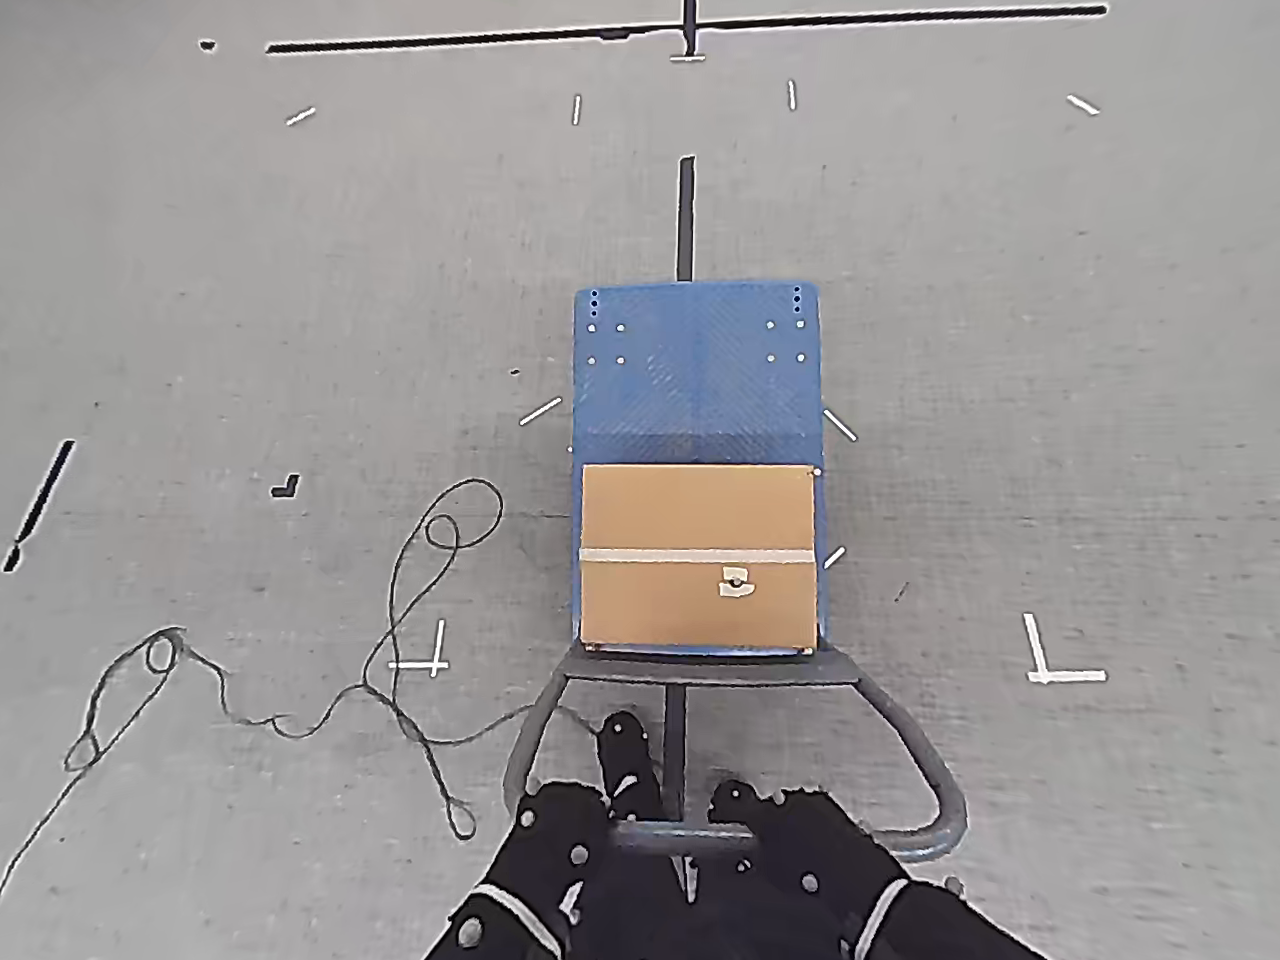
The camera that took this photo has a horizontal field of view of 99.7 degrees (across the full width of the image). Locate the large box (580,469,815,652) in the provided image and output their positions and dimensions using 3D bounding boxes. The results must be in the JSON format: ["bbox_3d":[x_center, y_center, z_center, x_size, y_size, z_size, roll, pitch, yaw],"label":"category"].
[{"bbox_3d":[0.100,0.149,1.077,0.408,0.320,0.320,0,86,2],"label":"large box"}]
